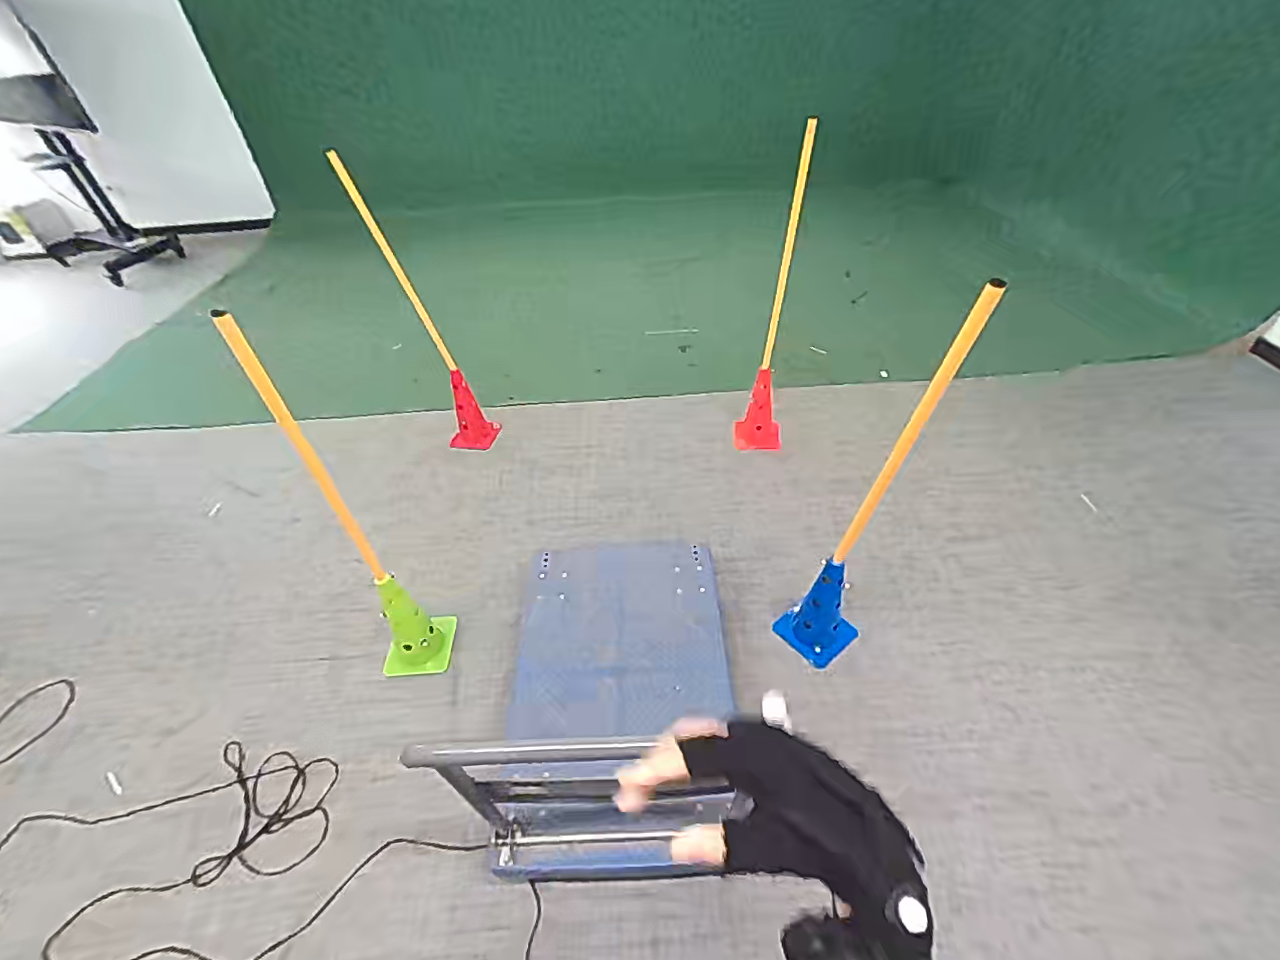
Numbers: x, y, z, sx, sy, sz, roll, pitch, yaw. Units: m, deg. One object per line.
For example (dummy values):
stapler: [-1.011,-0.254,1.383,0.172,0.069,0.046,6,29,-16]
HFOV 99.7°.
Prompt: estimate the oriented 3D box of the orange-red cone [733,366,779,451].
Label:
orange-red cone: [0.509,-0.321,2.301,0.198,0.360,0.199,4,44,9]
